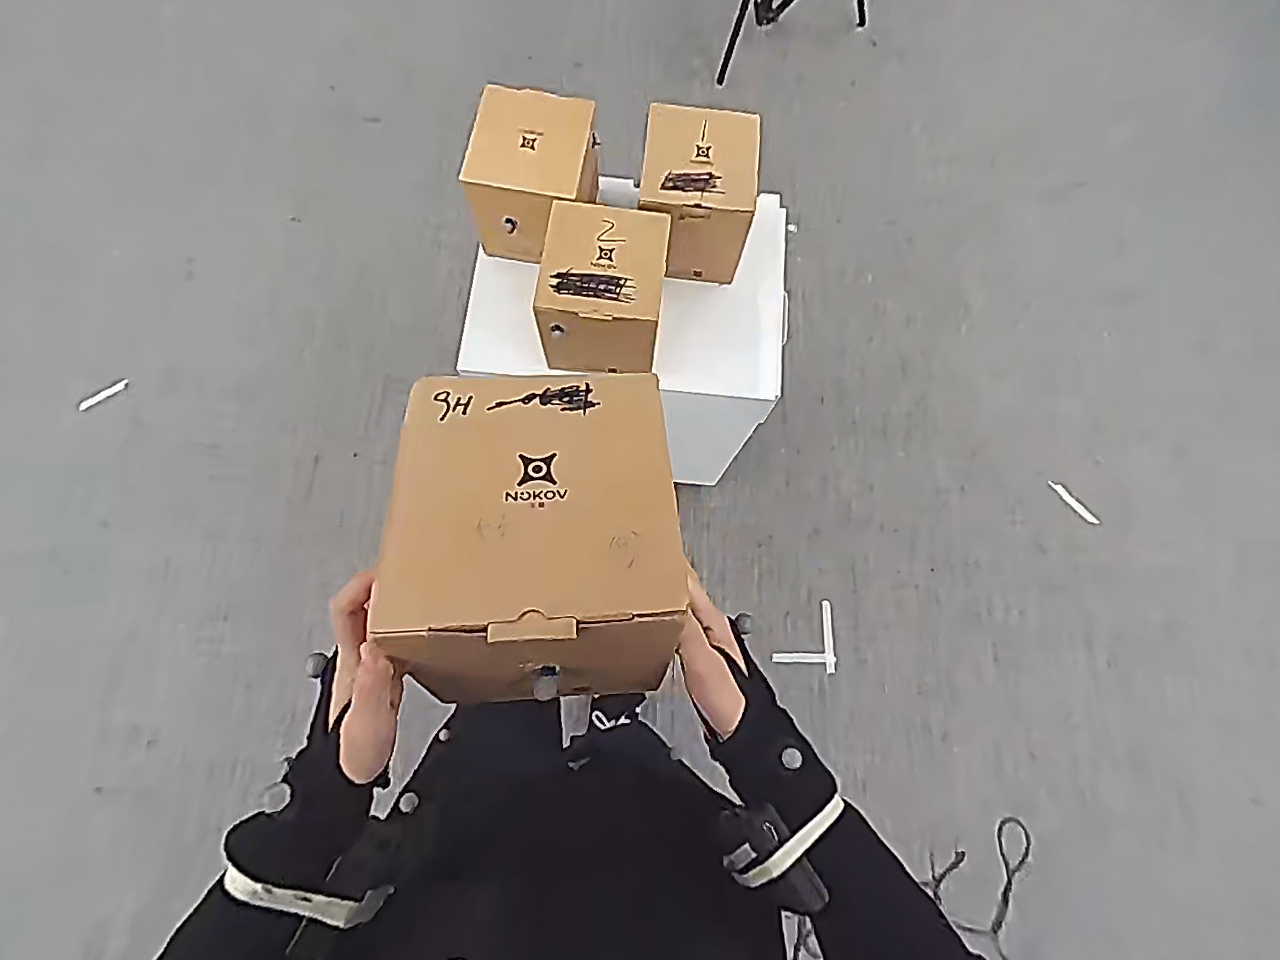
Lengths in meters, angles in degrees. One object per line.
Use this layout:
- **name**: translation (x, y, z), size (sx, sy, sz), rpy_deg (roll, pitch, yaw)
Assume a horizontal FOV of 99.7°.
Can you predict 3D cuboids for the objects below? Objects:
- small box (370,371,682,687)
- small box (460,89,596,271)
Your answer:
- **small box**: translation (-0.067, 0.044, 0.390), size (0.168, 0.176, 0.179), rpy_deg (-2, 58, -5)
- **small box**: translation (-0.162, -0.456, 0.845), size (0.168, 0.176, 0.179), rpy_deg (8, 75, -1)
